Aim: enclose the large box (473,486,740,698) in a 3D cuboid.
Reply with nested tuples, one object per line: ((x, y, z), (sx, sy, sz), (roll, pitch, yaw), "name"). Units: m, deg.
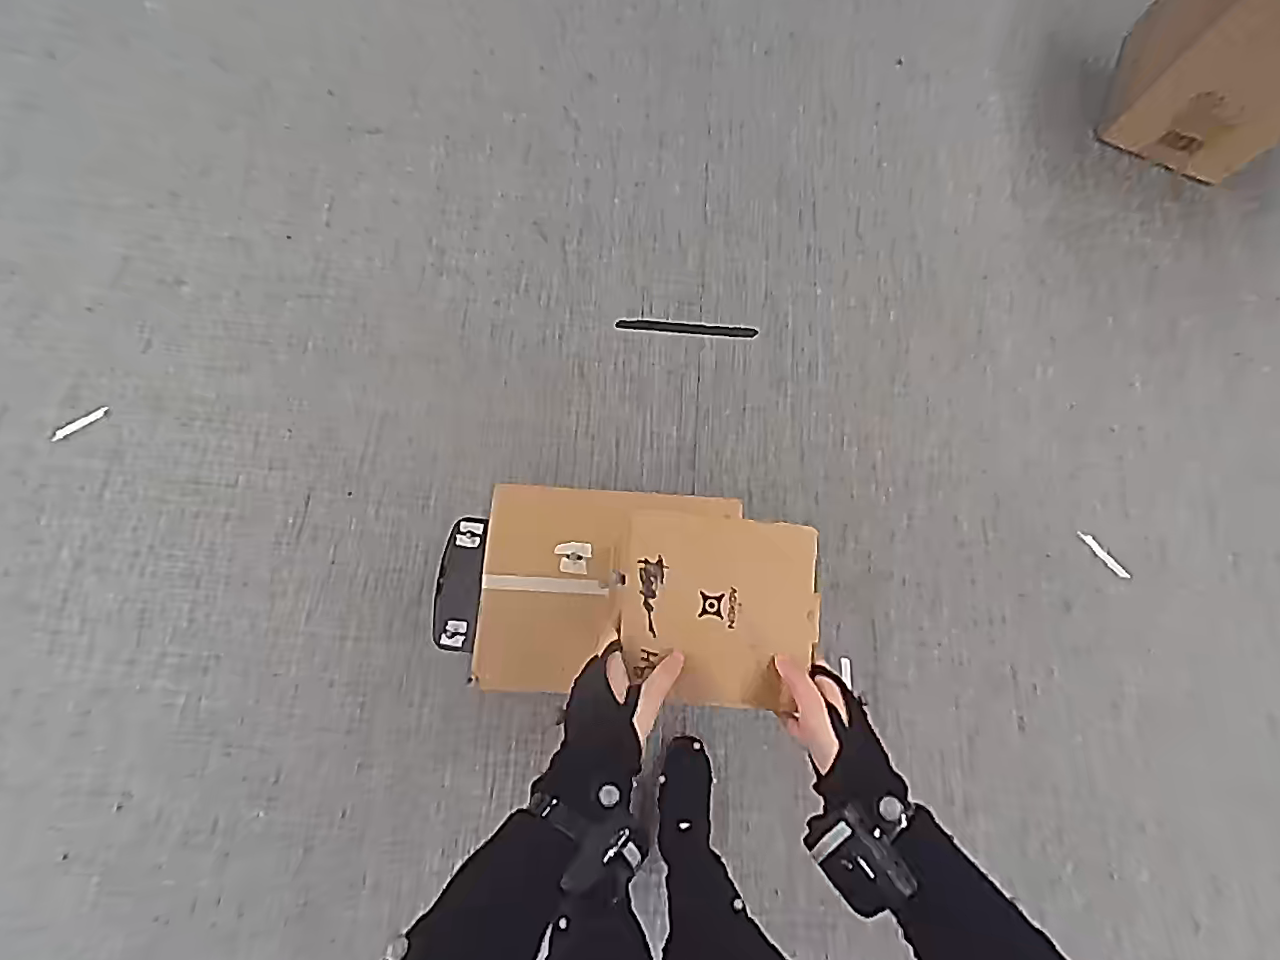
((-0.045, 0.201, 0.975), (0.408, 0.320, 0.320), (3, 75, -1), "large box")

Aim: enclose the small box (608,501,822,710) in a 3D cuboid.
((0.066, 0.125, 0.554), (0.179, 0.176, 0.168), (7, 76, -4), "small box")
